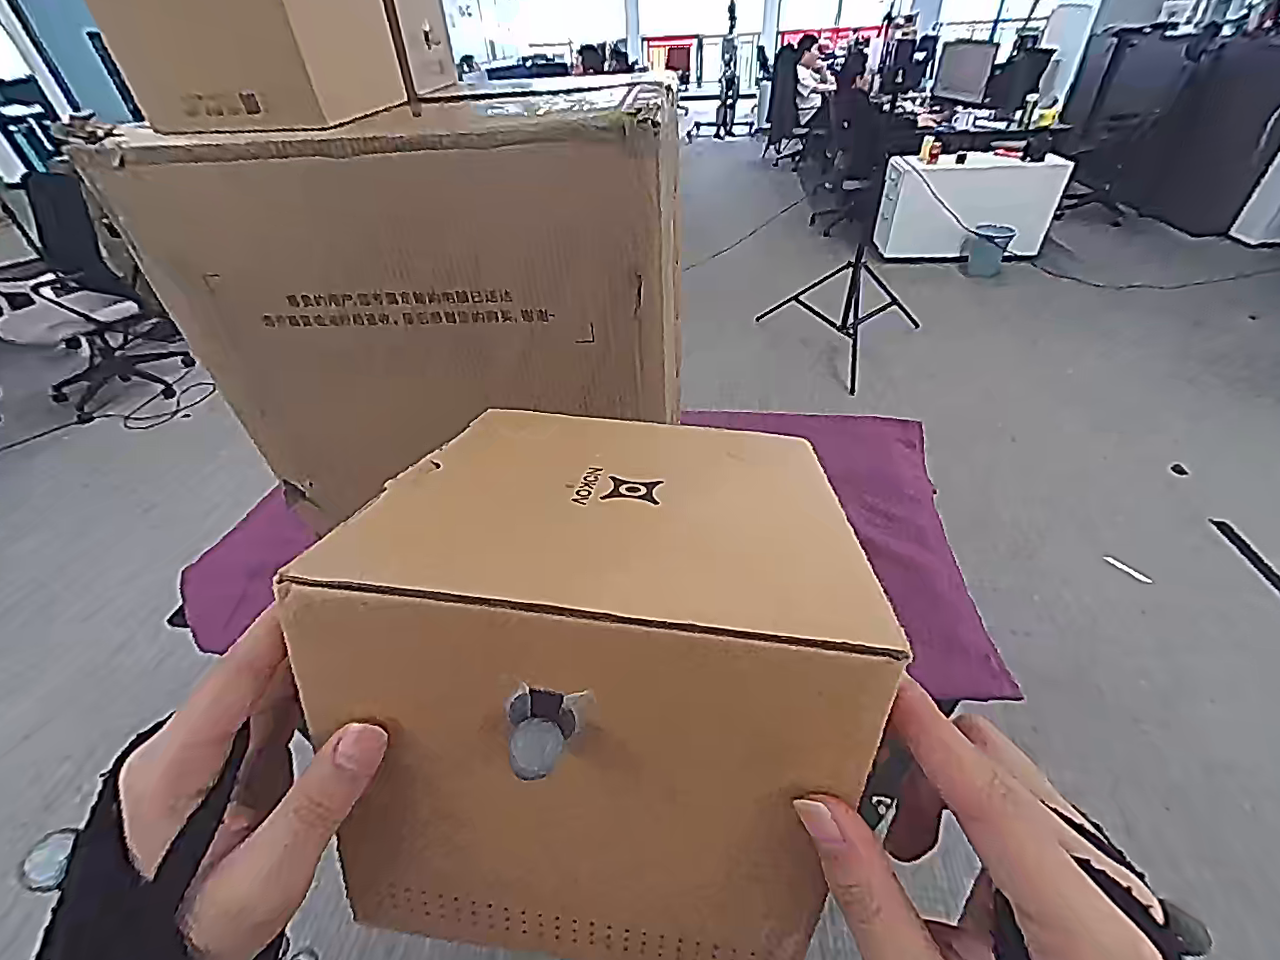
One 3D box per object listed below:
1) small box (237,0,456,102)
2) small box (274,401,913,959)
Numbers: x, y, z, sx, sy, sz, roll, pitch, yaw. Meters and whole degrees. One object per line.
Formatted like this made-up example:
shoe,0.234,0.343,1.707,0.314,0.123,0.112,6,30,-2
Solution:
small box,-0.334,-0.541,0.617,0.179,0.176,0.168,0,41,2
small box,-0.011,0.074,0.246,0.179,0.176,0.168,5,24,5
